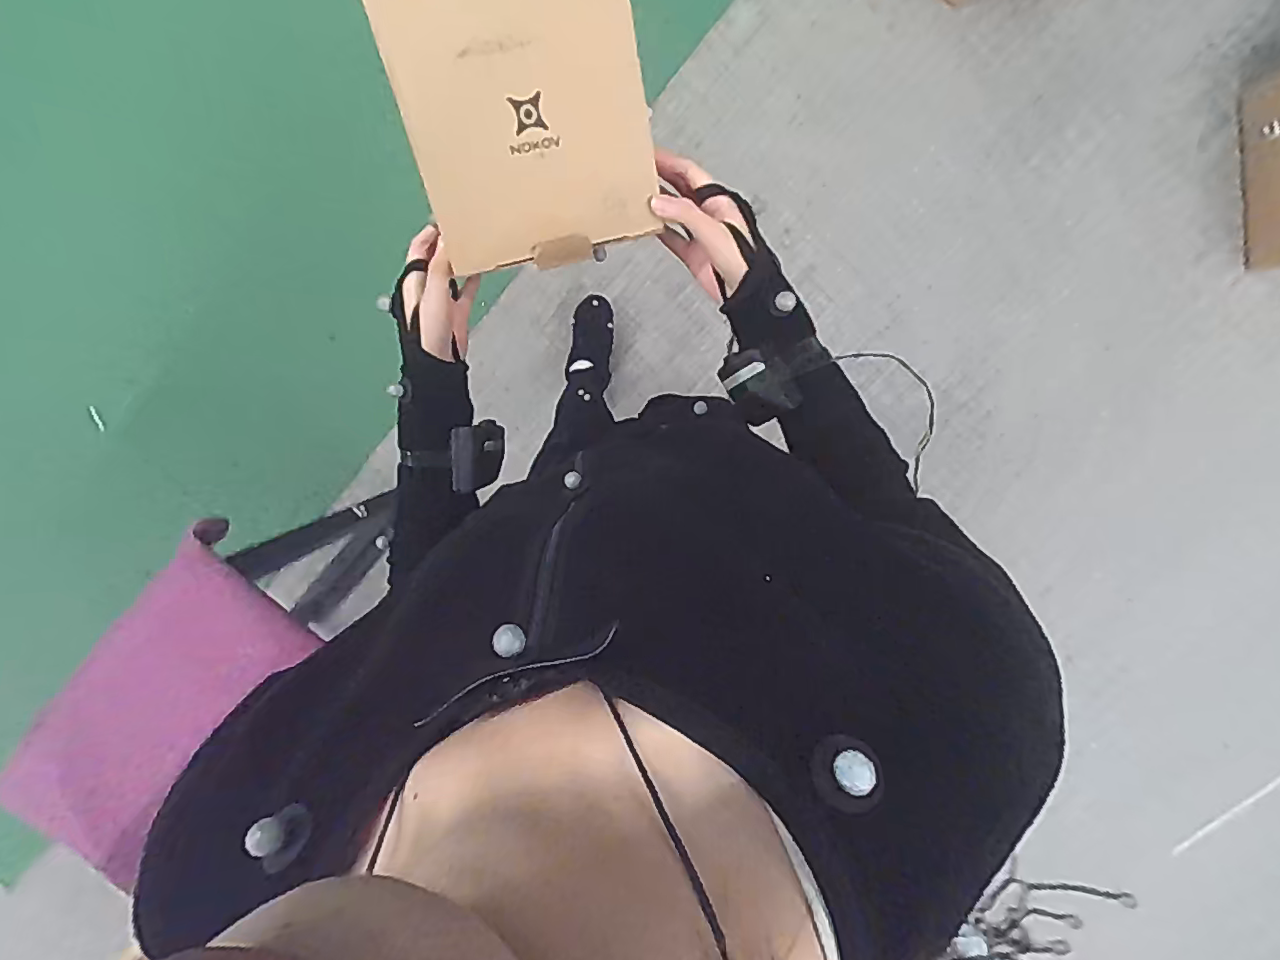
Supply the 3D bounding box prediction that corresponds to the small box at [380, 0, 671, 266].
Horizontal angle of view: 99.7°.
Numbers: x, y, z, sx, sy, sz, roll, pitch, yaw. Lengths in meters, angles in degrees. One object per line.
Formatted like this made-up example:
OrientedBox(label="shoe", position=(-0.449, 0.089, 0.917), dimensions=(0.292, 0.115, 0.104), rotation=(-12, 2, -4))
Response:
OrientedBox(label="small box", position=(-0.082, -0.283, 0.433), dimensions=(0.168, 0.176, 0.179), rotation=(-14, 116, -6))
